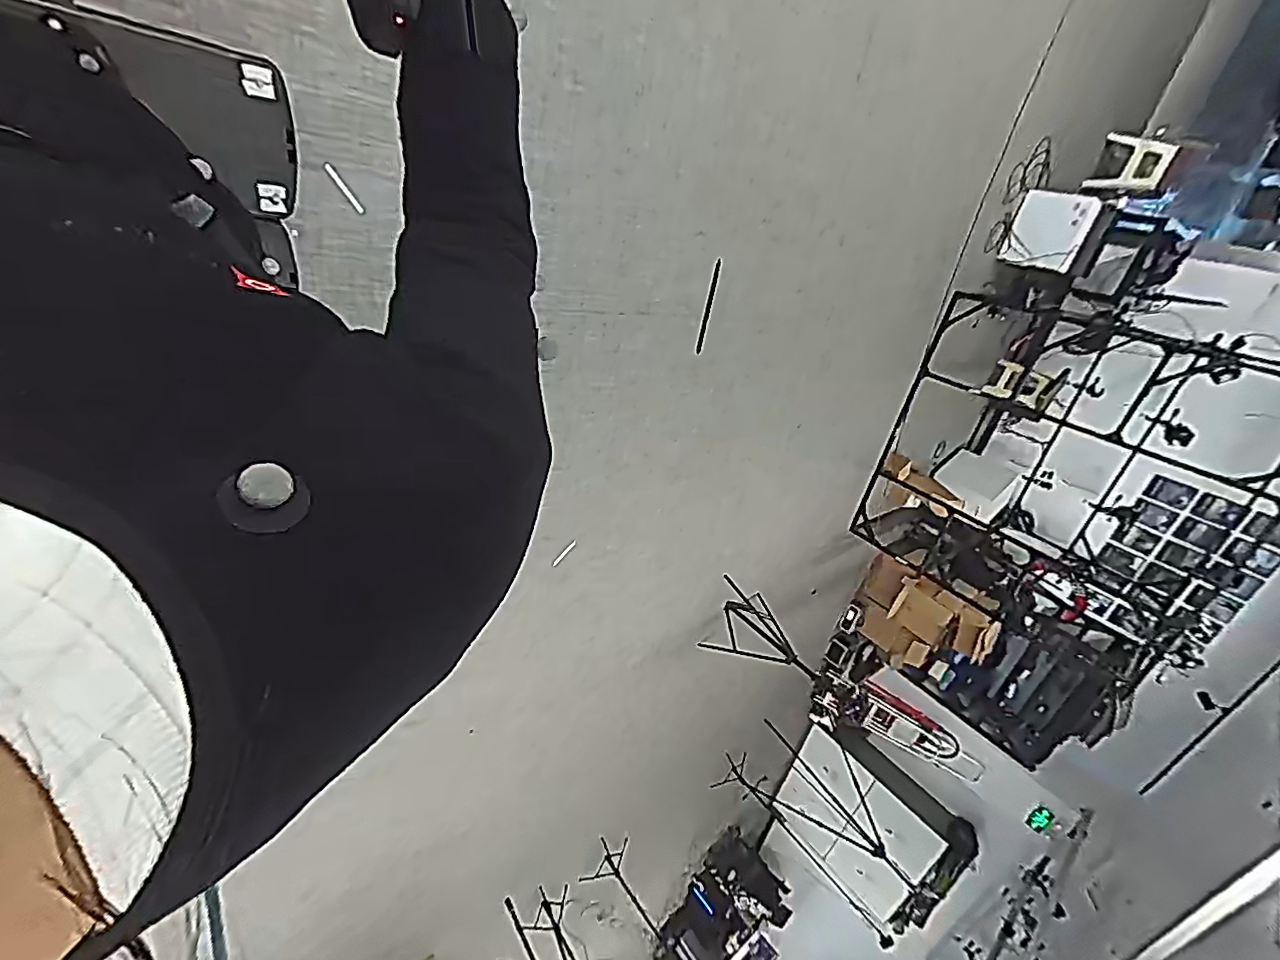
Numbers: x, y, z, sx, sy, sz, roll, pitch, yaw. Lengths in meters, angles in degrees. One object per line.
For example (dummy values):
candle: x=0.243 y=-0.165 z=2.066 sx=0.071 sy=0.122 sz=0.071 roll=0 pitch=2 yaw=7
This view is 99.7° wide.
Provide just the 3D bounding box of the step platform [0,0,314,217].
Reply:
step platform: x=-0.970 y=-0.661 z=0.945 sx=0.684 sy=0.204 sz=0.286 roll=-13 pitch=127 yaw=-40
